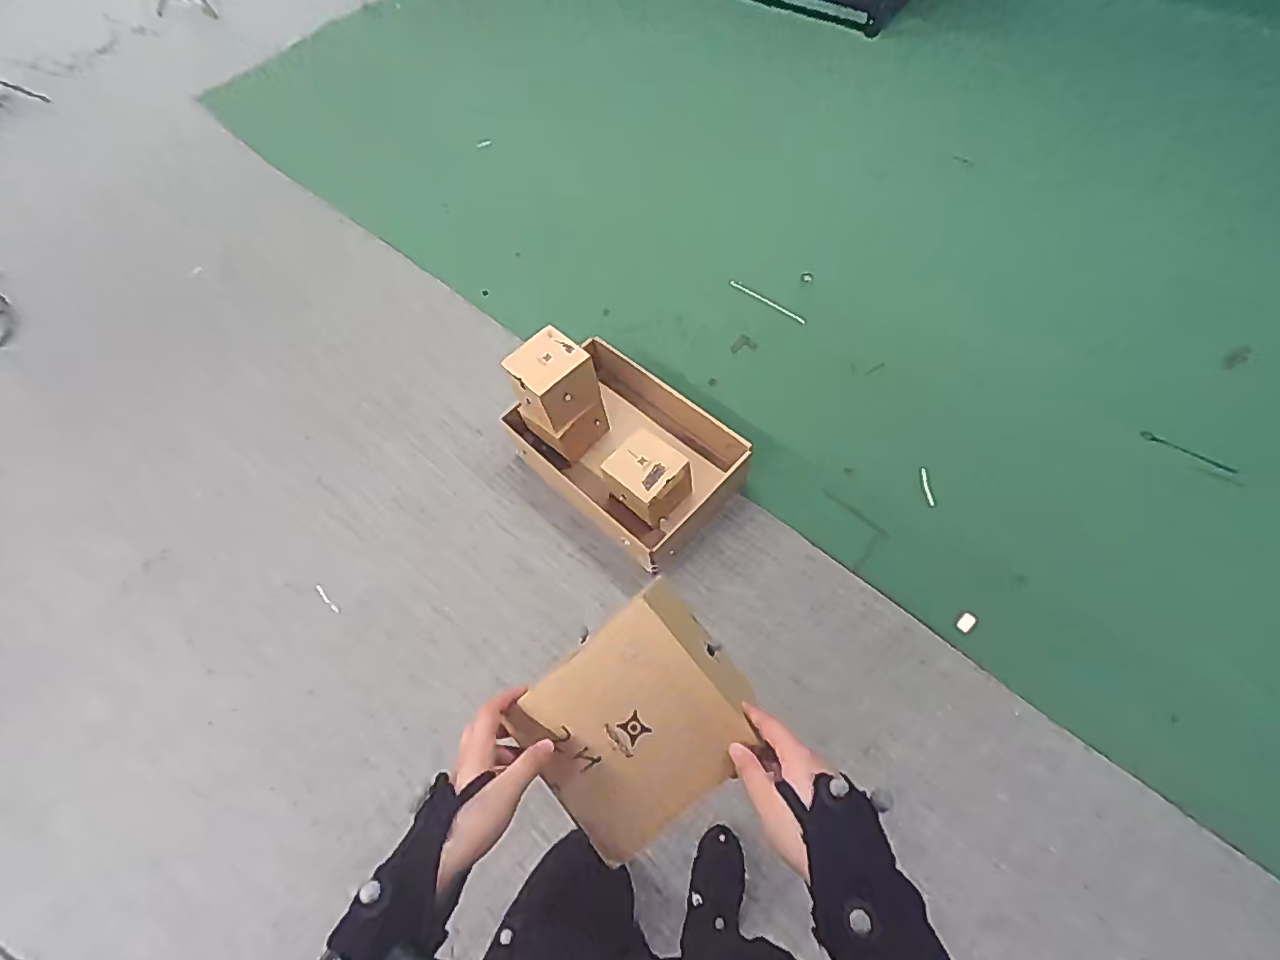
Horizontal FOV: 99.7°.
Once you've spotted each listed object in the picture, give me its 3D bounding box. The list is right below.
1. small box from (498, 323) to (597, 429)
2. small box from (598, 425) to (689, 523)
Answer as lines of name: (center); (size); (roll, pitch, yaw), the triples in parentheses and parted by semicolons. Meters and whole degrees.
small box: (-0.235, -0.267, 1.424); (0.179, 0.176, 0.168); (-43, 66, -14)
small box: (0.017, -0.006, 1.447); (0.179, 0.176, 0.168); (39, 74, 23)
